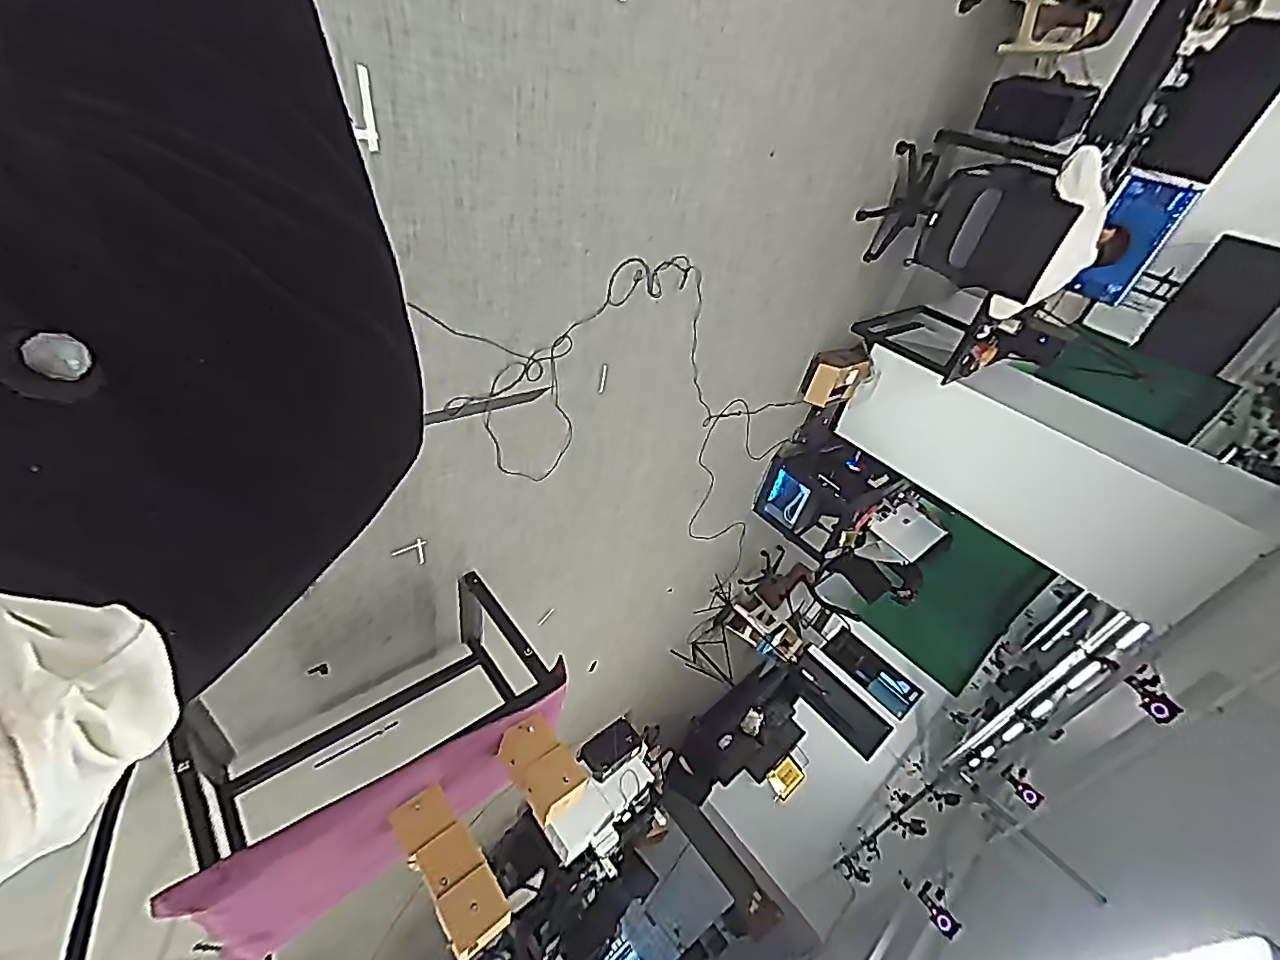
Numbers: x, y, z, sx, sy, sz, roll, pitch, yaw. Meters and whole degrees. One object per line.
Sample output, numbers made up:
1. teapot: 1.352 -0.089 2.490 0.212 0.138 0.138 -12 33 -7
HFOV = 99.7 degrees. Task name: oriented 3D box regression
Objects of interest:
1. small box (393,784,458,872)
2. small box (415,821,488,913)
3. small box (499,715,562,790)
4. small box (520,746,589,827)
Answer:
1. small box: -0.756 1.223 1.908 0.179 0.176 0.168 -23 142 -34
2. small box: -0.636 1.302 1.829 0.179 0.176 0.168 -24 141 -34
3. small box: -0.438 1.070 2.135 0.168 0.176 0.179 -13 133 -43
4. small box: -0.326 1.152 2.046 0.179 0.176 0.168 -15 135 -42
